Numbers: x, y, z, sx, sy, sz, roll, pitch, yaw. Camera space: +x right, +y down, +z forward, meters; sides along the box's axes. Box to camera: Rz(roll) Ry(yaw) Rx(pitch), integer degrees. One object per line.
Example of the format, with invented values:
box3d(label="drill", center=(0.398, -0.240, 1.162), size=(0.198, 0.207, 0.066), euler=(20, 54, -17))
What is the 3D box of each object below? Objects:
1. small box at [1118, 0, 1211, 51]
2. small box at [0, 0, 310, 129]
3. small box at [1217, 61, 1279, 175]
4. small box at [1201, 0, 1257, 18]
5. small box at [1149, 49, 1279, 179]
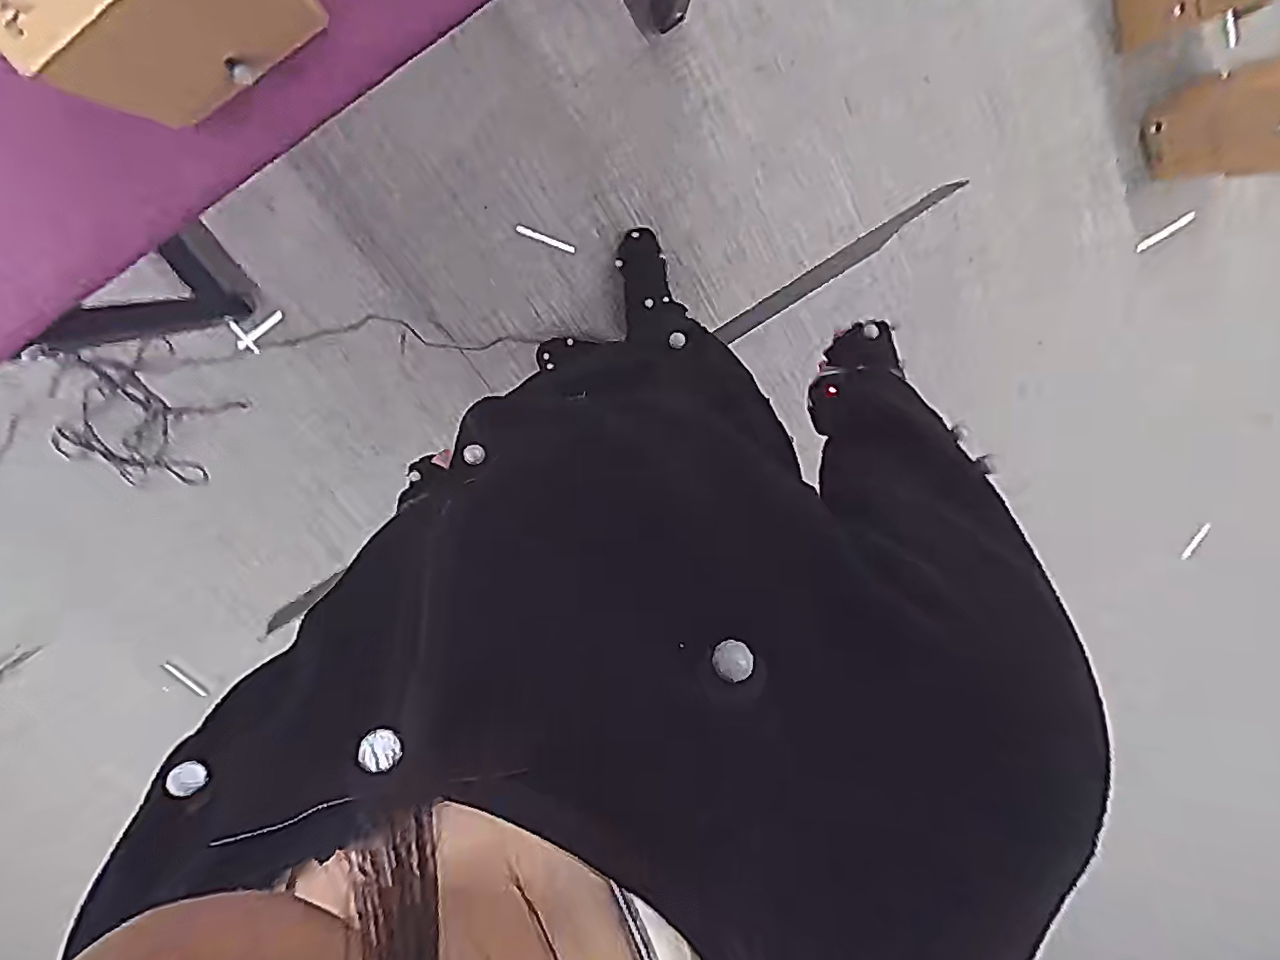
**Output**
box3d(label="small box", center=(1.116, -1.027, 1.095), size=(0.168, 0.176, 0.179), euler=(-27, 112, 5))
box3d(label="small box", center=(-0.387, -0.404, 0.402), size=(0.179, 0.176, 0.168), euler=(-31, 112, 6))
box3d(label="small box", center=(1.294, -0.728, 1.055), size=(0.168, 0.176, 0.179), euler=(-30, 113, 7))
box3d(label="small box", center=(1.141, -0.968, 0.946), size=(0.179, 0.176, 0.168), euler=(-29, 114, 5))
box3d(label="small box", center=(1.290, -0.803, 1.203), size=(0.179, 0.176, 0.168), euler=(-33, 112, 7))
